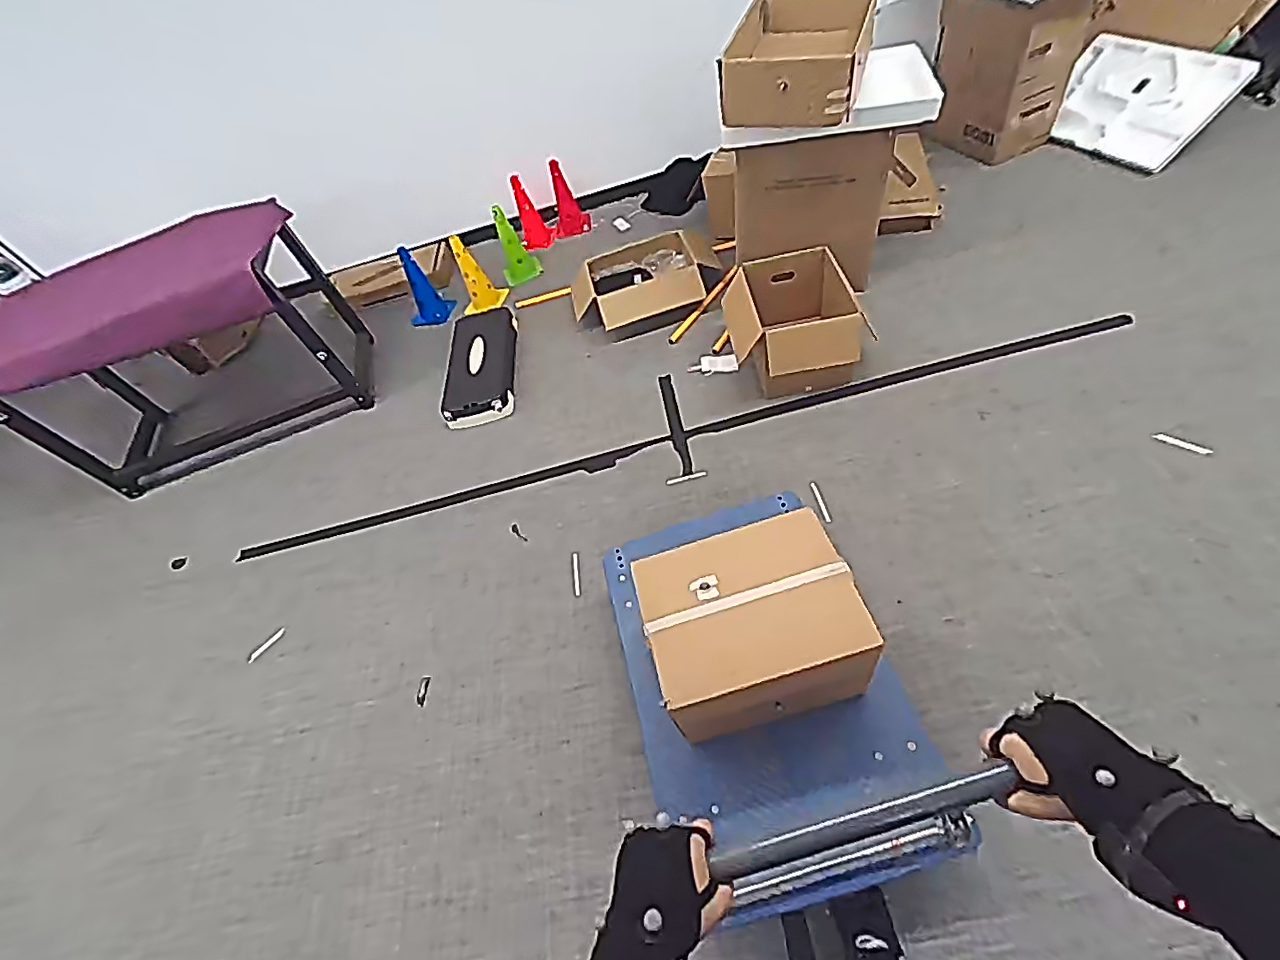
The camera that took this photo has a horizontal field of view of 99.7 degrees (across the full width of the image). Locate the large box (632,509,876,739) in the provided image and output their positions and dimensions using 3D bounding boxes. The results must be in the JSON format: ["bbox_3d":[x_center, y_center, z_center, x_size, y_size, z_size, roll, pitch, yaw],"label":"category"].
[{"bbox_3d":[0.238,0.324,1.181,0.408,0.320,0.320,-19,51,2],"label":"large box"}]
